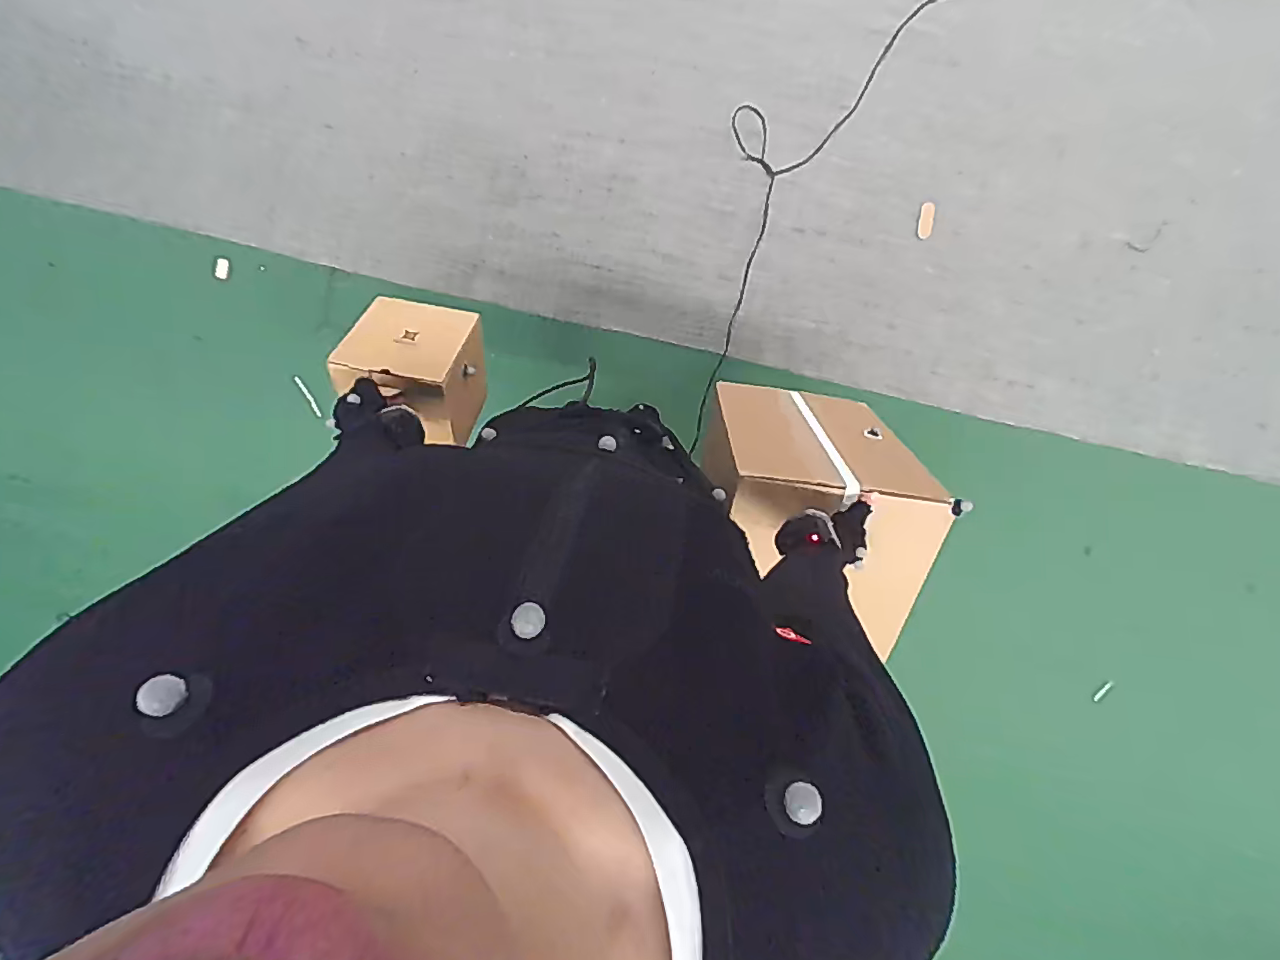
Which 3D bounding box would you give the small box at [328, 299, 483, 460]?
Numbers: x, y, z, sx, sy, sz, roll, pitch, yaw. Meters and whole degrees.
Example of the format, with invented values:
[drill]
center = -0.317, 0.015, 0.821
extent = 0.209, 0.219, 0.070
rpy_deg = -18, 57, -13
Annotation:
[small box]
center = -0.361, -0.161, 0.875
extent = 0.168, 0.179, 0.176
rpy_deg = 9, 141, -1
